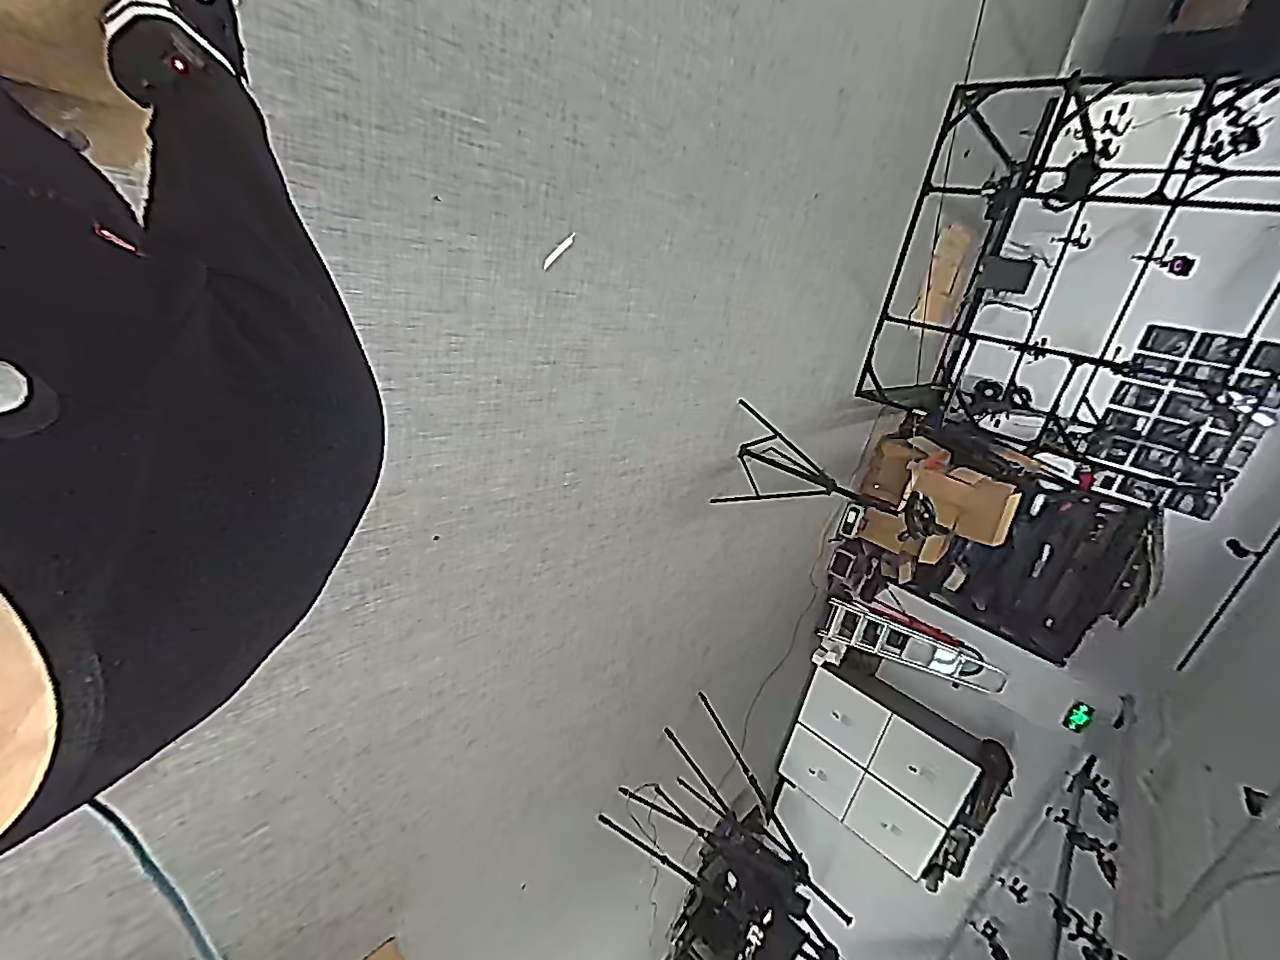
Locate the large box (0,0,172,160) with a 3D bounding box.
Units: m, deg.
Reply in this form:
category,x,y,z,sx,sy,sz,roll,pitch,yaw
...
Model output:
category,x,y,z,sx,sy,sz,roll,pitch,yaw
large box,-0.660,-0.481,0.404,0.408,0.320,0.320,-12,113,-46
